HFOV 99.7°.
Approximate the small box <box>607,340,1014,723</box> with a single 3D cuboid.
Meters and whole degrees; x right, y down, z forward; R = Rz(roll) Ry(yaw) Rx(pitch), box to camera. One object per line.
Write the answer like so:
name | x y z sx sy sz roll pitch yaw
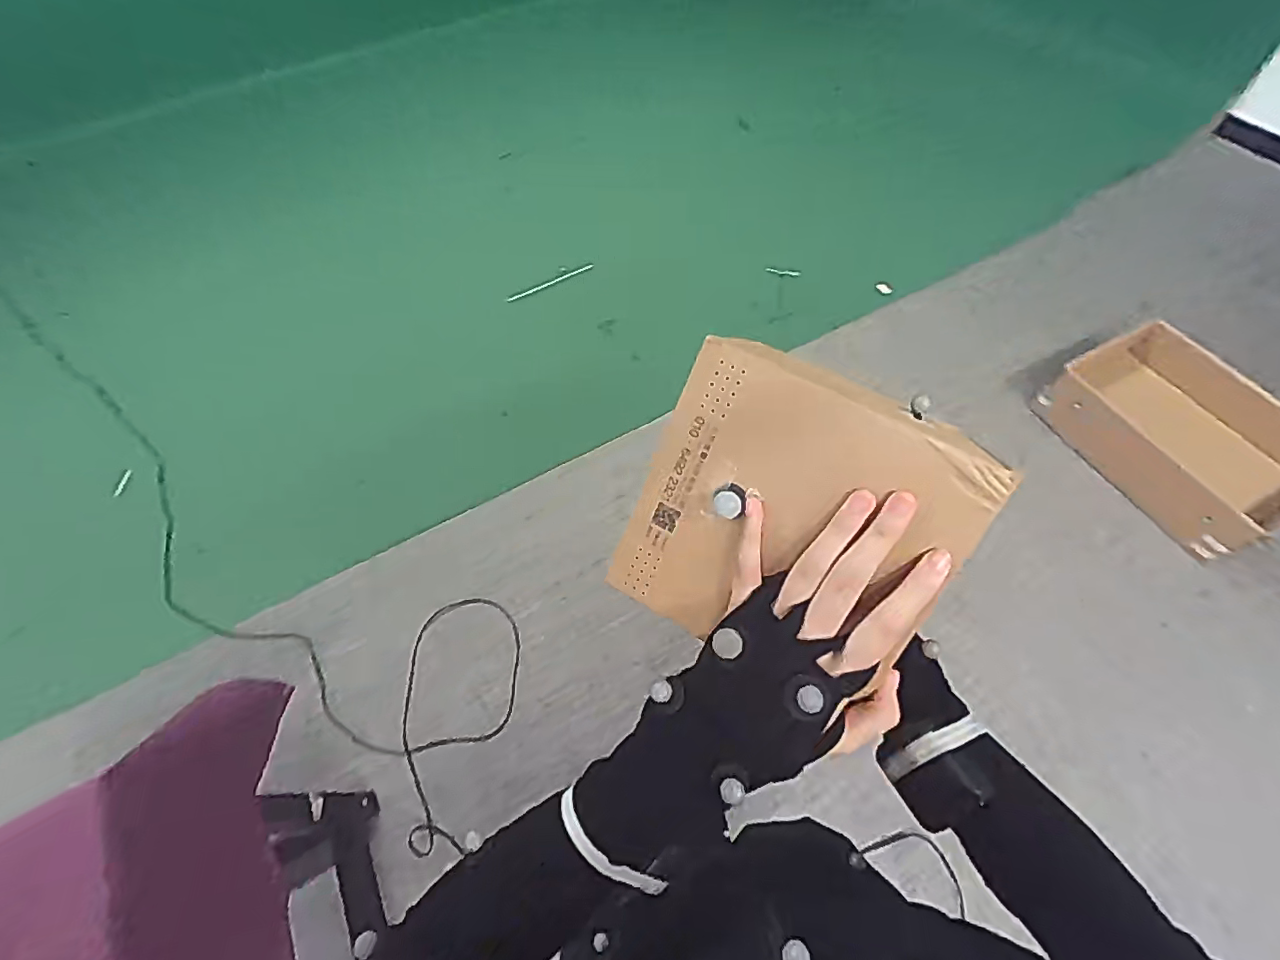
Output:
small box | 0.105 0.014 0.372 0.176 0.168 0.179 29 22 16
